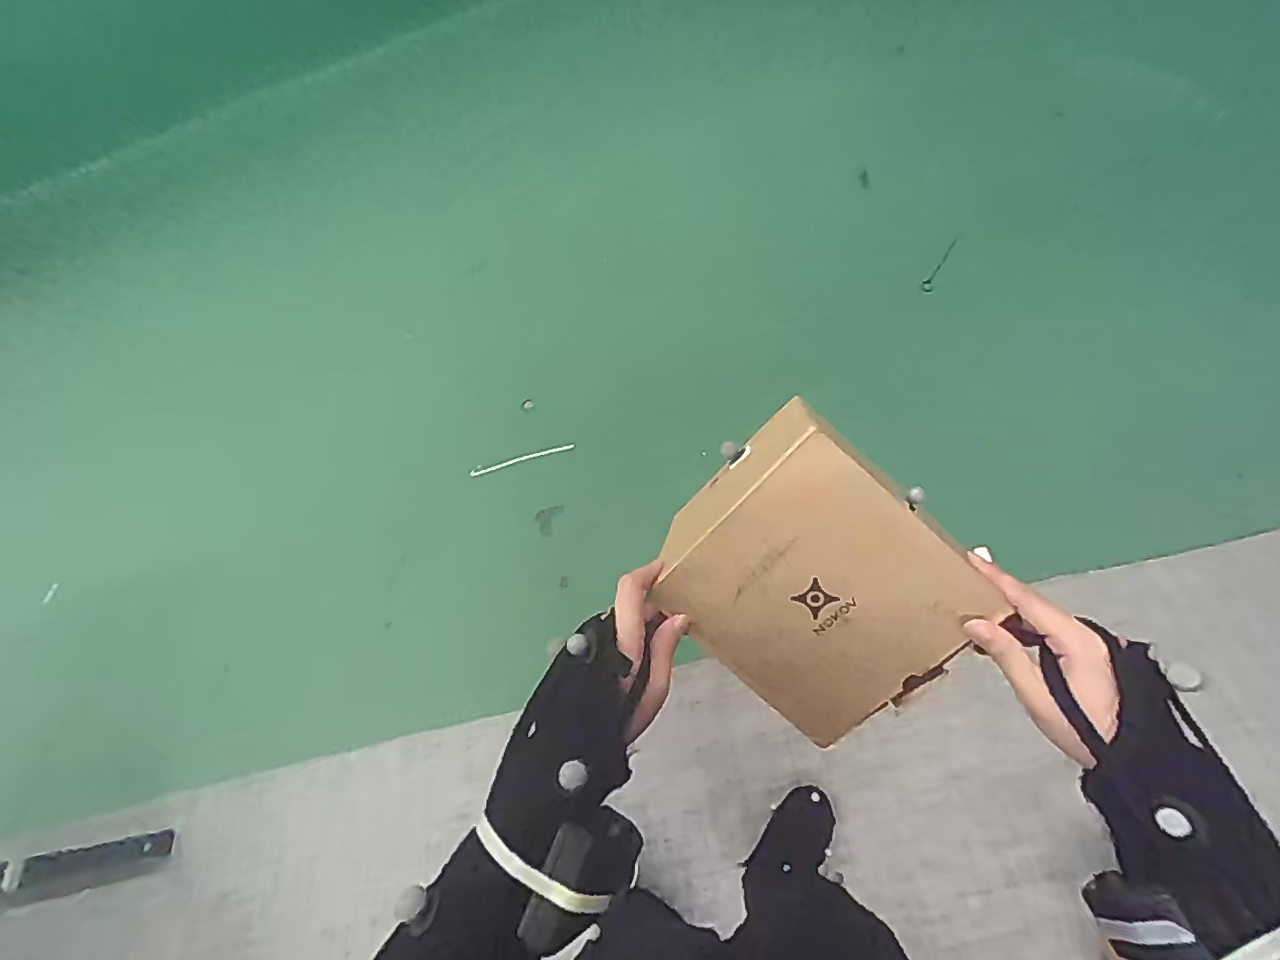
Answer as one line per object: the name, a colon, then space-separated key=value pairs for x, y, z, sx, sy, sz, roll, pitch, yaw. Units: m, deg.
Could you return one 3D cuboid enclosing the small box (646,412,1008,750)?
small box: x=0.133 y=0.063 z=0.436 sx=0.179 sy=0.176 sz=0.168 roll=41 pitch=108 yaw=-2
